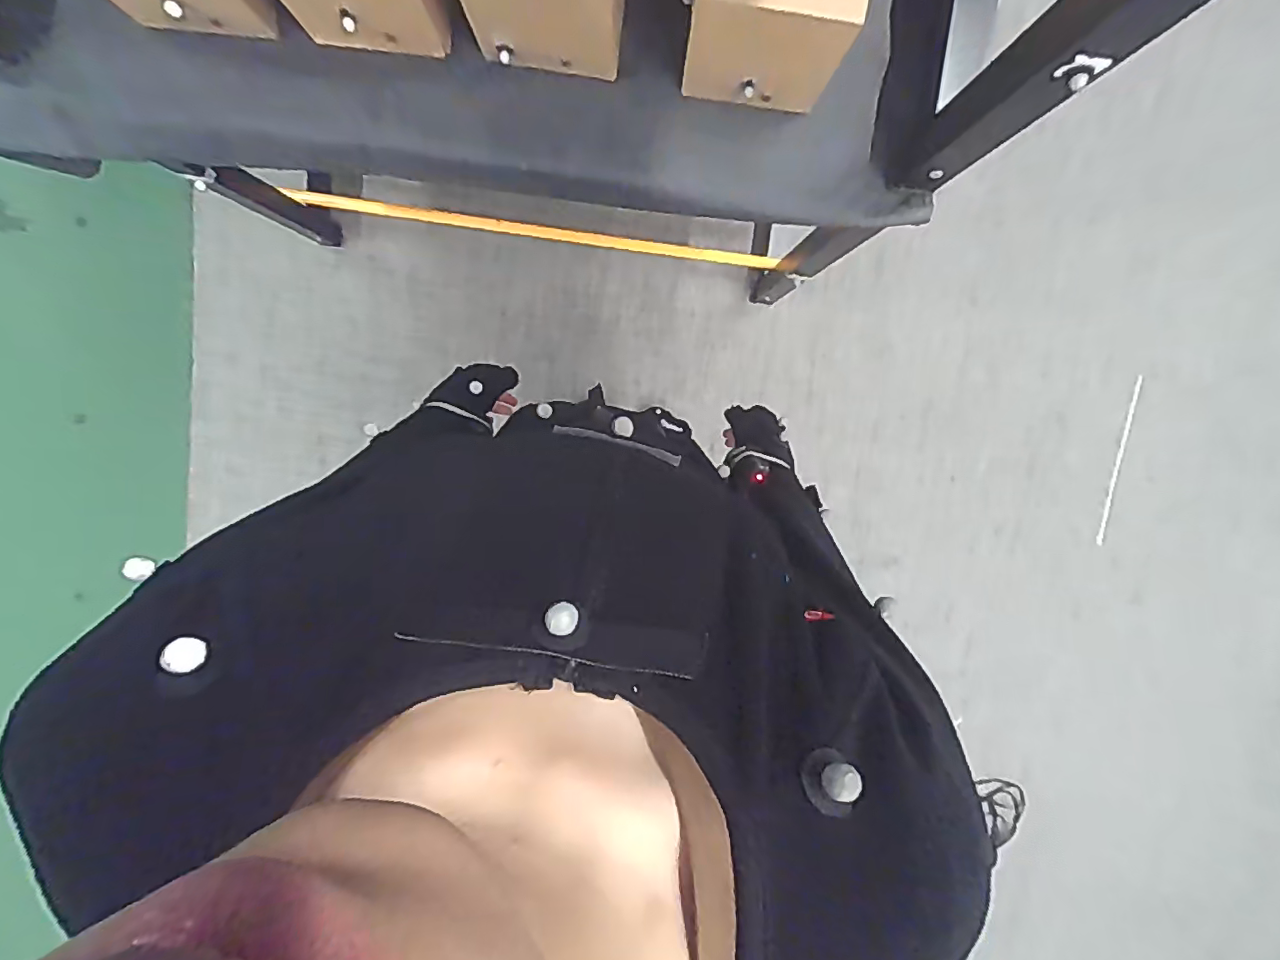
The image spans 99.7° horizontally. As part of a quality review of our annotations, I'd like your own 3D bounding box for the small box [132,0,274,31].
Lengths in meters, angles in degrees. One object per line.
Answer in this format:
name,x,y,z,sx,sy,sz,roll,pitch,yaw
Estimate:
small box,-0.510,-0.622,0.557,0.168,0.176,0.179,5,98,-2
